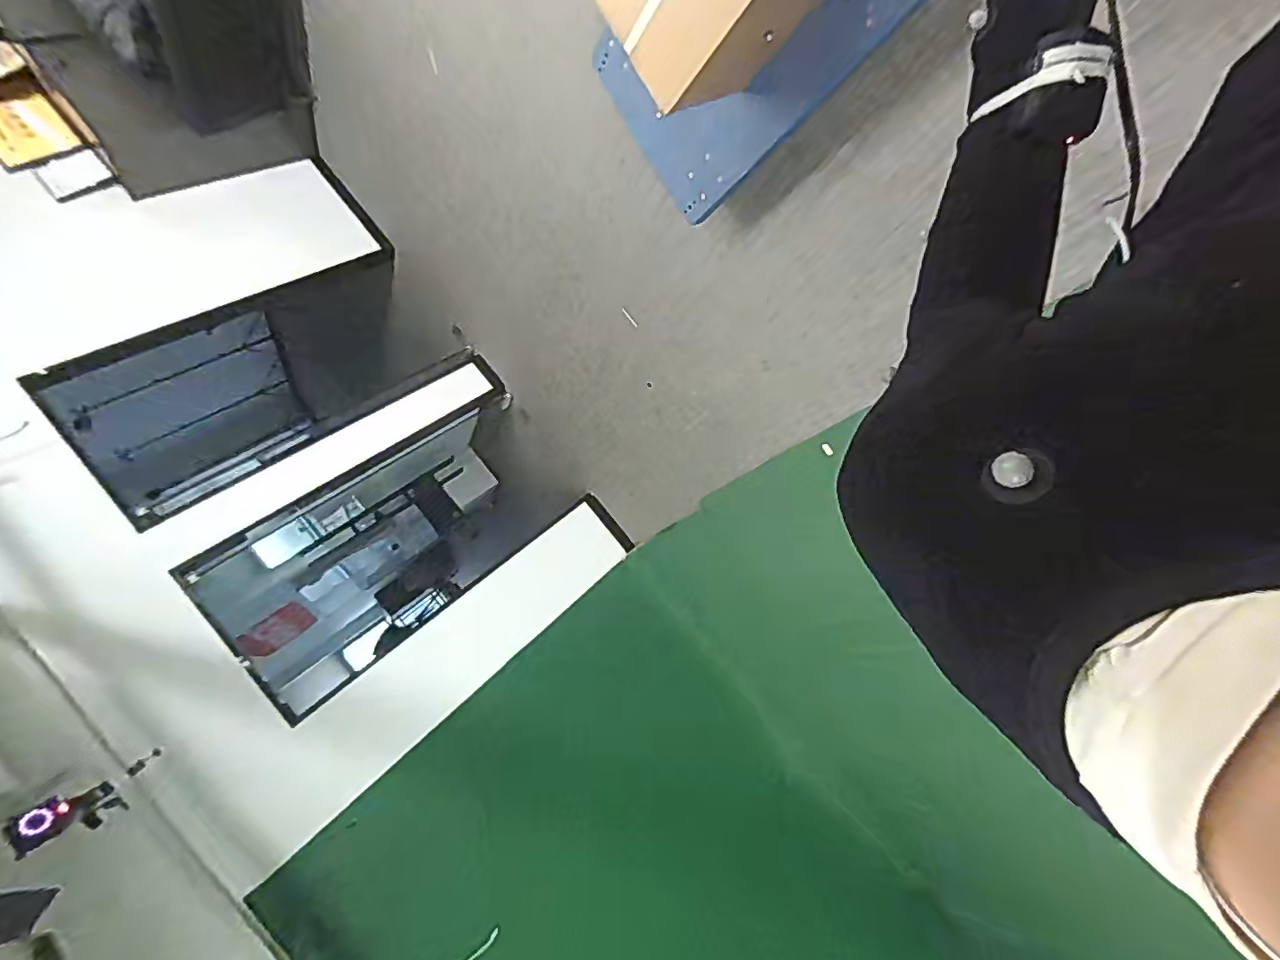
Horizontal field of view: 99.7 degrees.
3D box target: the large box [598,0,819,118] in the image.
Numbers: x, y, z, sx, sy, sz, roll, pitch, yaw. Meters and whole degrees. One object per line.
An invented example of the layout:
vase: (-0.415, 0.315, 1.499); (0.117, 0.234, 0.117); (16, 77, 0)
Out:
large box: (0.179, -1.055, 1.098); (0.320, 0.320, 0.408); (56, 150, -9)
